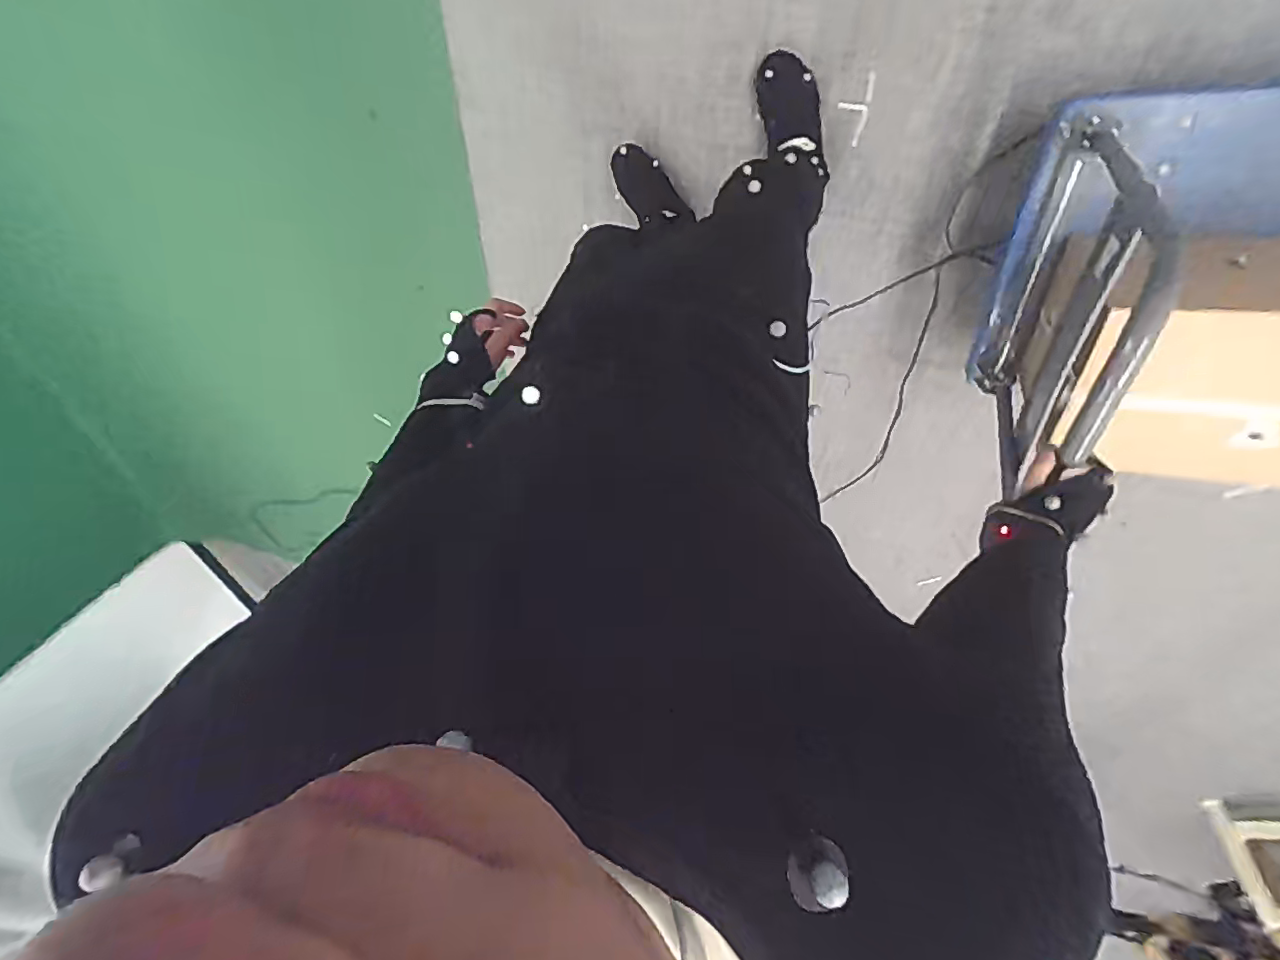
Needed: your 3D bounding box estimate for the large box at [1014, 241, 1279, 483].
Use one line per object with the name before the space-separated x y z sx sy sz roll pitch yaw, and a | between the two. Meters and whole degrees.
large box | 0.975 -0.225 0.980 0.408 0.320 0.320 8 135 18
